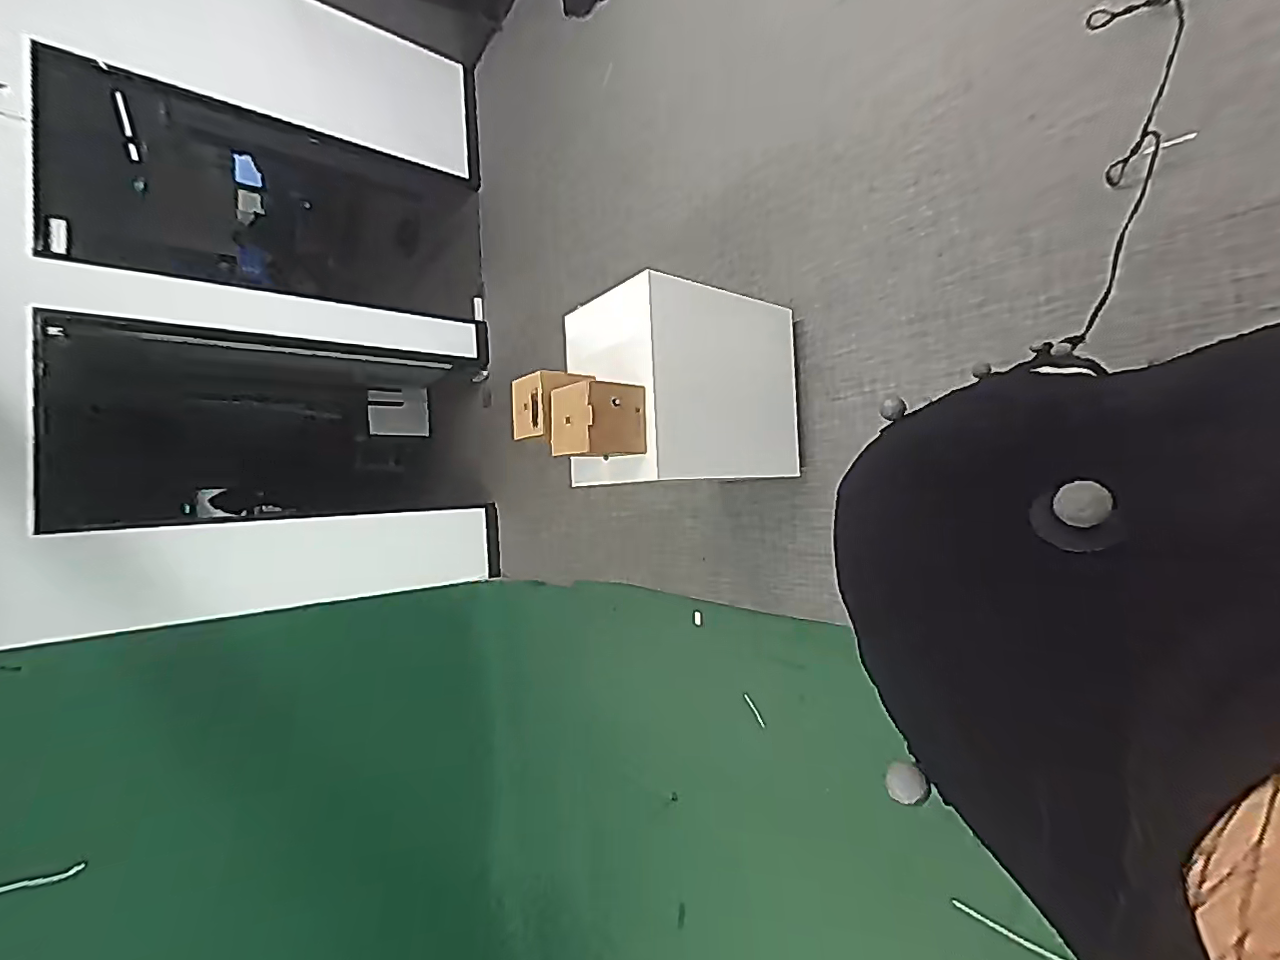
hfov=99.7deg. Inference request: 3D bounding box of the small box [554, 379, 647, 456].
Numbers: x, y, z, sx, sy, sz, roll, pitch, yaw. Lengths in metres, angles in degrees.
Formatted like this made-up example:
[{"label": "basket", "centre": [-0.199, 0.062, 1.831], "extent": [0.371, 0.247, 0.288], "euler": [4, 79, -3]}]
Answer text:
[{"label": "small box", "centre": [-0.093, -0.145, 1.314], "extent": [0.179, 0.176, 0.168], "euler": [-3, 87, 54]}]
